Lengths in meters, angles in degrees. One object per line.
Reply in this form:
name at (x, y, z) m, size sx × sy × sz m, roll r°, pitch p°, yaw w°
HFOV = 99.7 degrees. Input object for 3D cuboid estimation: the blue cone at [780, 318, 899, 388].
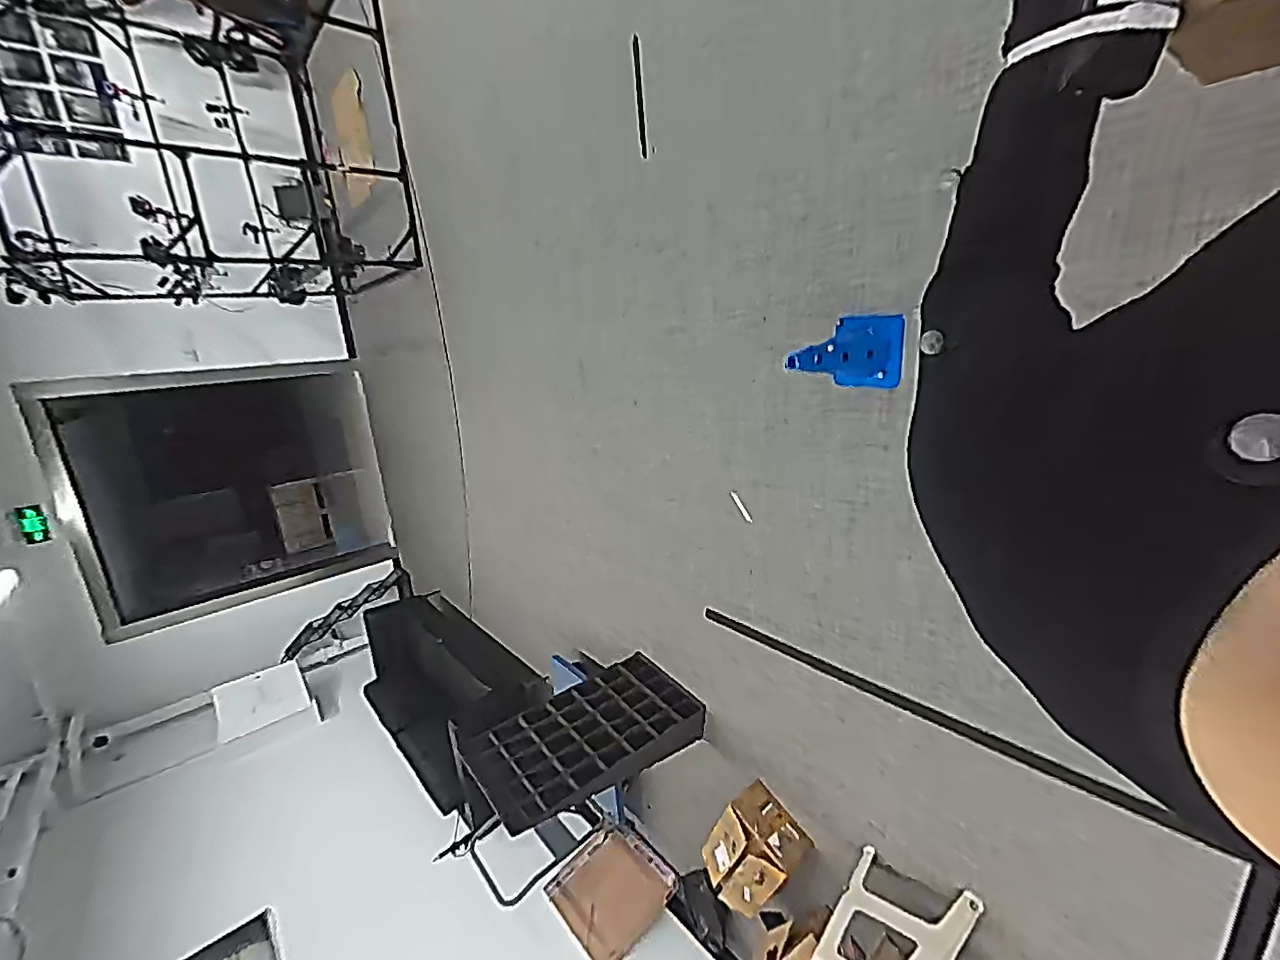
blue cone at (0.511, -0.324, 1.437) m, size 0.192 × 0.380 × 0.193 m, roll 19°, pitch 117°, yaw 48°

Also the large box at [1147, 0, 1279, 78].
large box at (0.534, -0.455, 0.239) m, size 0.408 × 0.320 × 0.320 m, roll 12°, pitch 118°, yaw 48°
